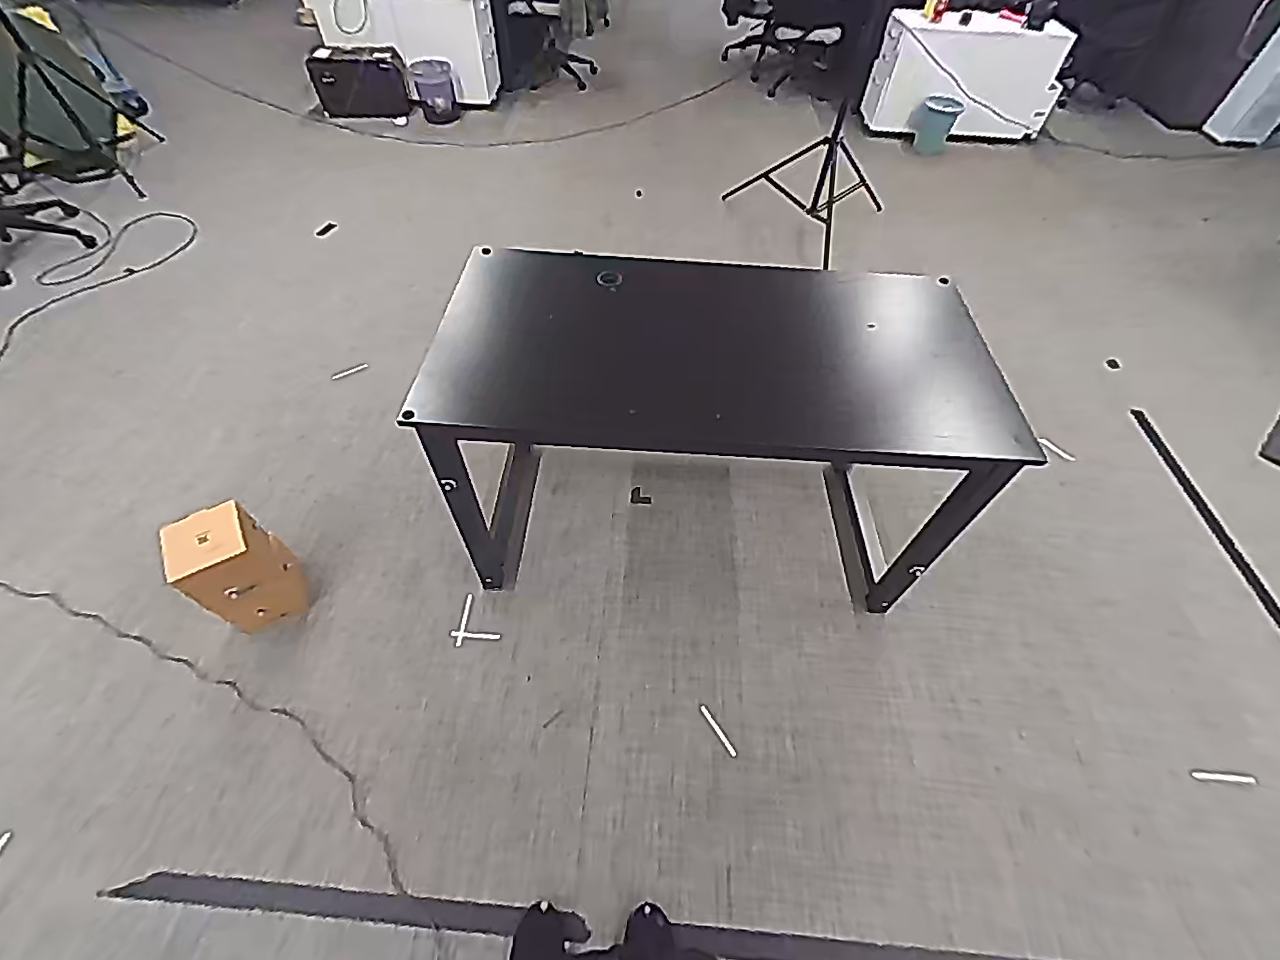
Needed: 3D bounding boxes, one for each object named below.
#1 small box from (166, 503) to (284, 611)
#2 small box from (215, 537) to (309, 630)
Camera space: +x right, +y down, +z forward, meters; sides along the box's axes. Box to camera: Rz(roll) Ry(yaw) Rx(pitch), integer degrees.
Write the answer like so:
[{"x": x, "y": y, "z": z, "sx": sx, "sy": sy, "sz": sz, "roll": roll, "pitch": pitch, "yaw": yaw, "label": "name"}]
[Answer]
[{"x": -1.040, "y": 0.197, "z": 1.363, "sx": 0.168, "sy": 0.176, "sz": 0.179, "roll": -27, "pitch": 60, "yaw": -20, "label": "small box"}, {"x": -1.044, "y": 0.294, "z": 1.495, "sx": 0.168, "sy": 0.176, "sz": 0.179, "roll": -22, "pitch": 56, "yaw": -19, "label": "small box"}]
